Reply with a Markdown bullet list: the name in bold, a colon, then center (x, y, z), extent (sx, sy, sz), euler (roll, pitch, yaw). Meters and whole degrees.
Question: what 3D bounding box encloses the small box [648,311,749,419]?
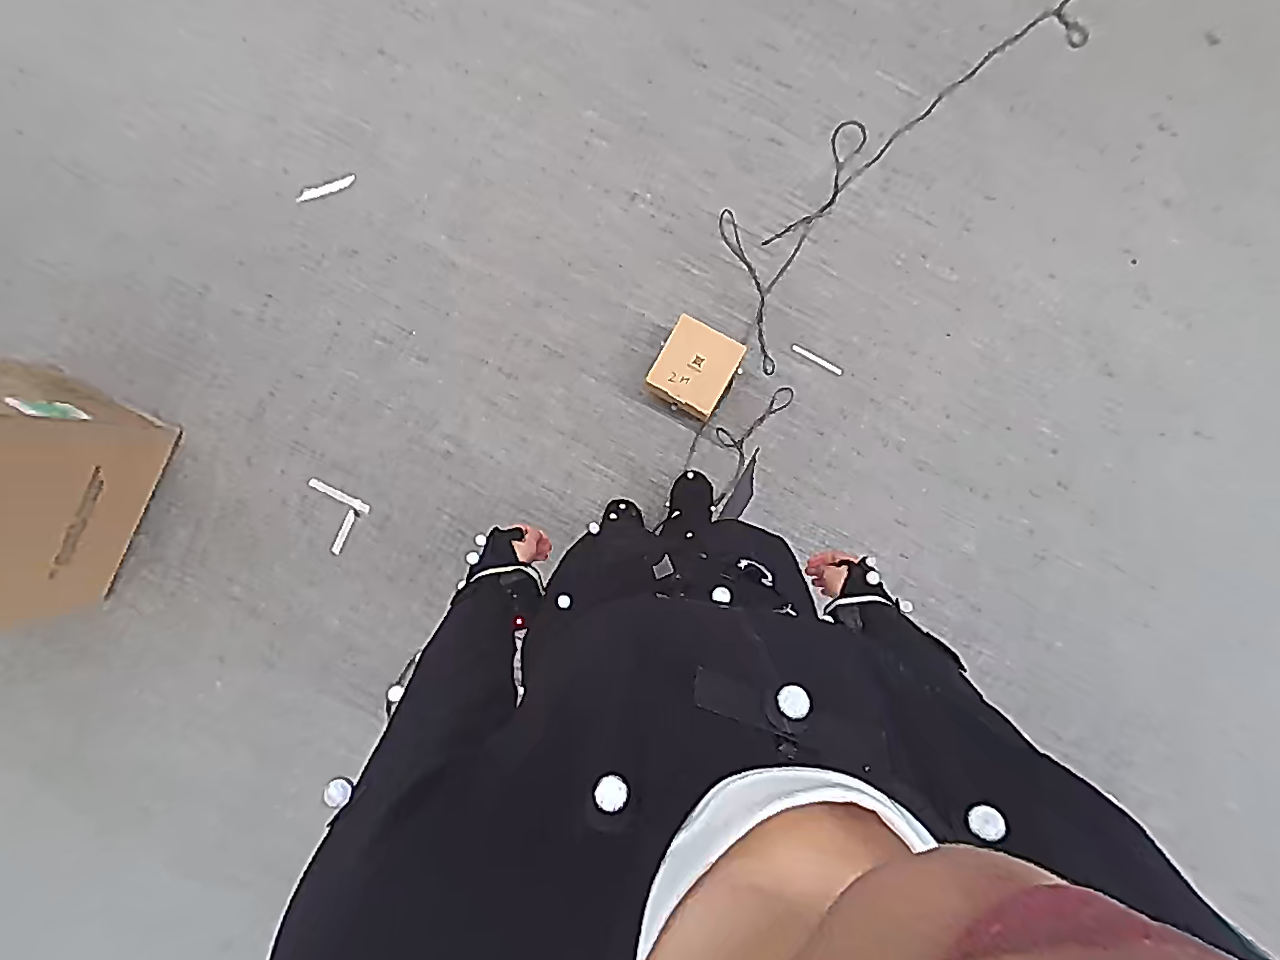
- **small box**: center (0.132, -0.260, 1.266), extent (0.168, 0.176, 0.179), euler (30, 94, 3)
